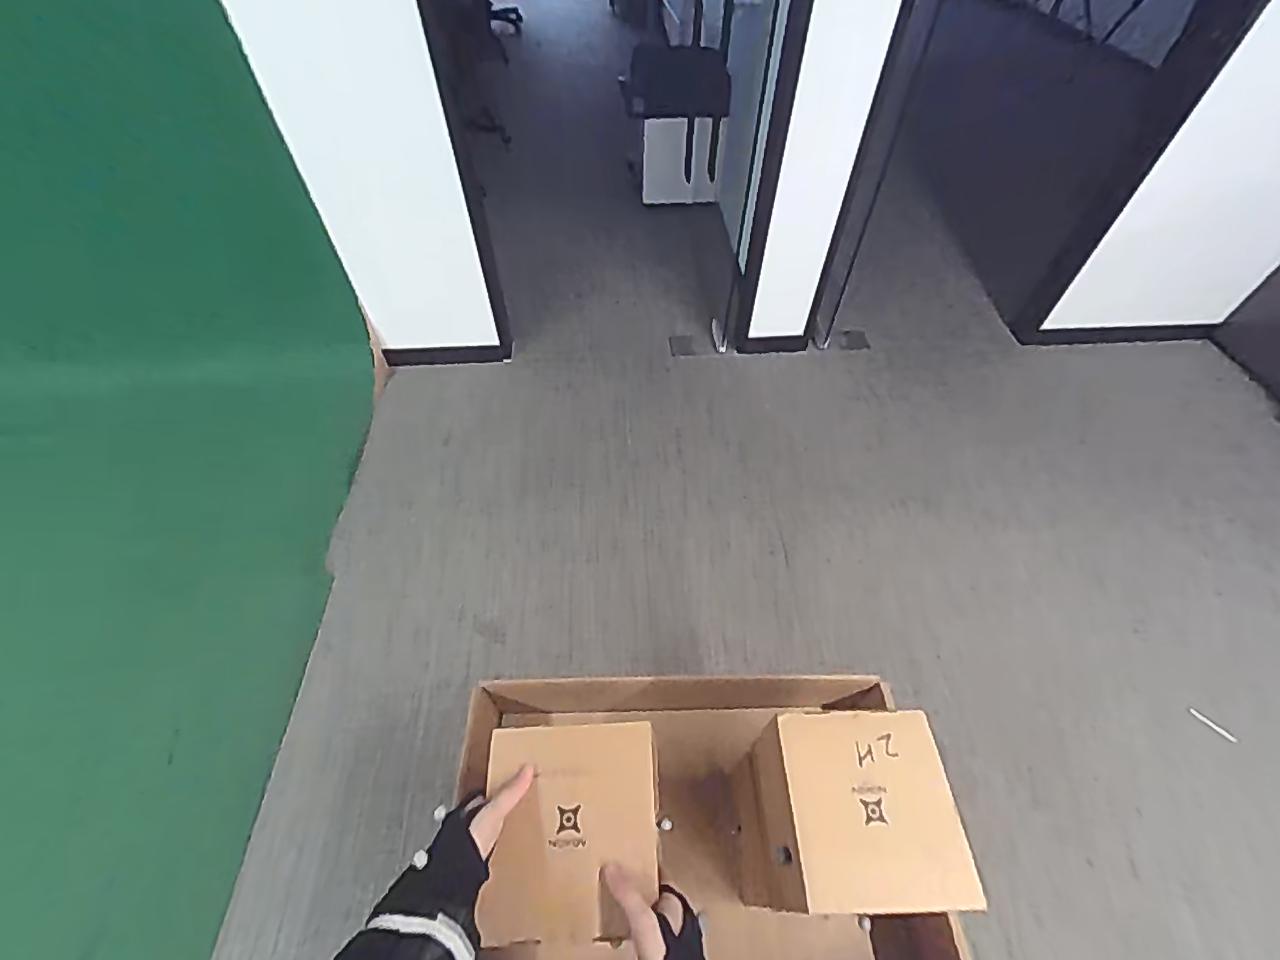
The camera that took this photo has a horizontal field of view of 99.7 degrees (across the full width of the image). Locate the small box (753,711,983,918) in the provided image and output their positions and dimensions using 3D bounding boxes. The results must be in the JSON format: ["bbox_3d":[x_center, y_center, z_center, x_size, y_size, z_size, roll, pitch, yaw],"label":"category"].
[{"bbox_3d":[0.228,0.369,0.599,0.168,0.176,0.179,0,52,-1],"label":"small box"}]

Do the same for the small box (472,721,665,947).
[{"bbox_3d":[-0.062,0.364,0.575,0.168,0.176,0.179,-4,58,2],"label":"small box"}]
